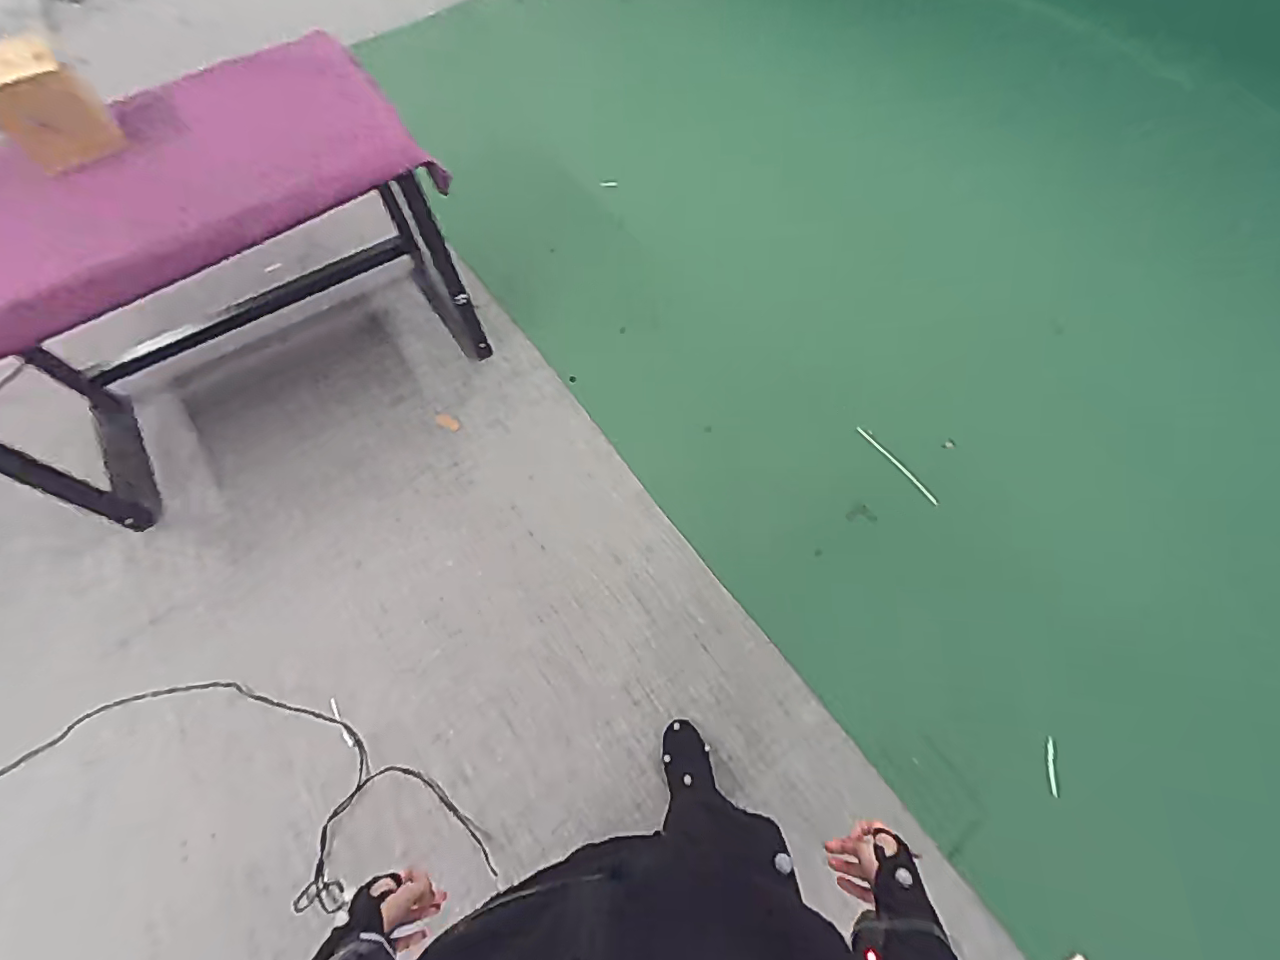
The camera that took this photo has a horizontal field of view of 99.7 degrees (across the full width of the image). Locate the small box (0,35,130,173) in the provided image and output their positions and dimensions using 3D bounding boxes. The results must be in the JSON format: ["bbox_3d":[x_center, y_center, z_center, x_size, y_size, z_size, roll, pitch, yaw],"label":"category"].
[{"bbox_3d":[-1.277,-0.806,1.171,0.179,0.176,0.168,-32,69,-13],"label":"small box"}]
